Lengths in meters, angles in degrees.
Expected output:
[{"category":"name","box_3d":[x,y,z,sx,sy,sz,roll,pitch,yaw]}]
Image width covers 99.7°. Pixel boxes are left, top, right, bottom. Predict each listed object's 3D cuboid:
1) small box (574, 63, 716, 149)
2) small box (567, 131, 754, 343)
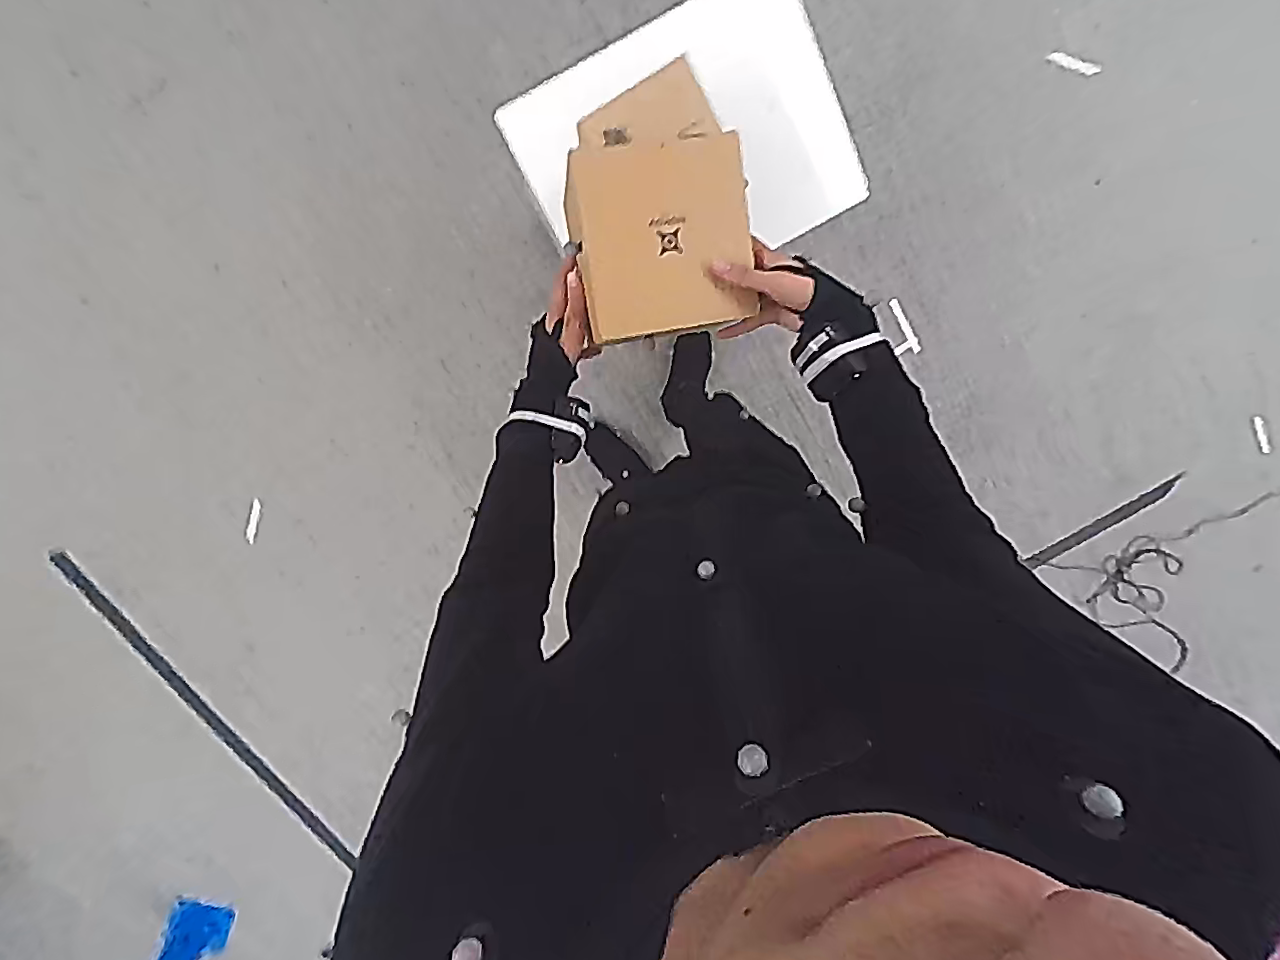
[{"category":"small box","box_3d":[0.017,-0.473,0.832,0.179,0.176,0.168,-32,103,1]},{"category":"small box","box_3d":[0.014,-0.253,0.606,0.168,0.176,0.179,-11,102,-7]}]
